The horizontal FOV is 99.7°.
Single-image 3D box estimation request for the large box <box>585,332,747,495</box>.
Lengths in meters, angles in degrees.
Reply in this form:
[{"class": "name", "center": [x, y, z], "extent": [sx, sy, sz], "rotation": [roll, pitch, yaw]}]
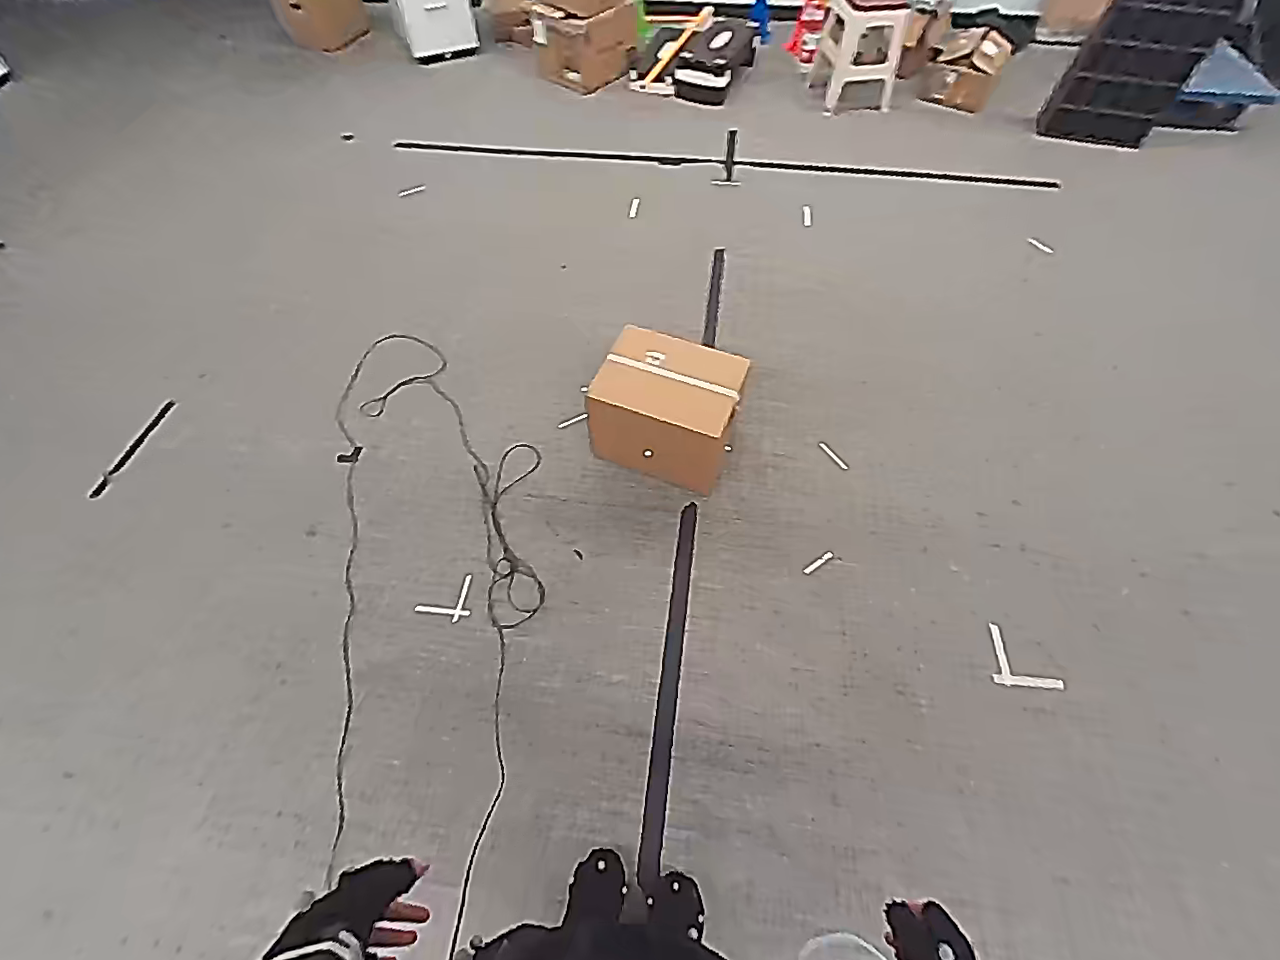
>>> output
[{"class": "large box", "center": [0.085, -0.203, 1.695], "extent": [0.408, 0.320, 0.320], "rotation": [19, 59, 12]}]
